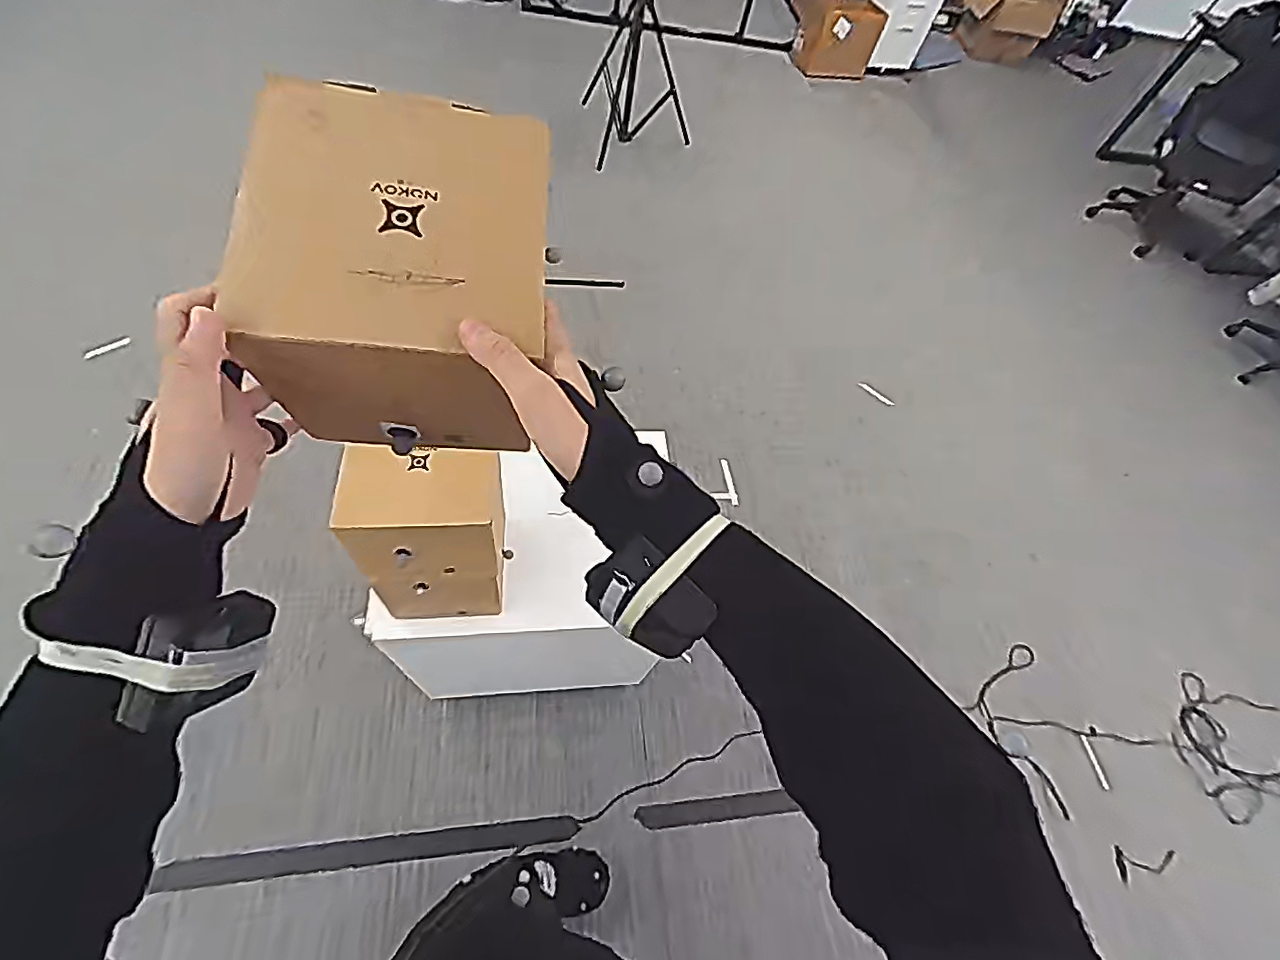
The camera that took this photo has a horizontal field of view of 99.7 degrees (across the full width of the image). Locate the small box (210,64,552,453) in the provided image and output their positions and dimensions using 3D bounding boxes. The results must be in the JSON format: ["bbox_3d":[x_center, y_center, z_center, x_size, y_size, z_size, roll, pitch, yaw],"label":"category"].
[{"bbox_3d":[-0.155,-0.132,0.382,0.168,0.176,0.179,2,74,-14],"label":"small box"}]

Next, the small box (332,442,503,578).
[{"bbox_3d":[-0.262,0.017,0.682,0.168,0.176,0.179,-1,59,-12],"label":"small box"}]

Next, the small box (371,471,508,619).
[{"bbox_3d":[-0.290,0.099,0.821,0.168,0.176,0.179,0,58,-11],"label":"small box"}]
